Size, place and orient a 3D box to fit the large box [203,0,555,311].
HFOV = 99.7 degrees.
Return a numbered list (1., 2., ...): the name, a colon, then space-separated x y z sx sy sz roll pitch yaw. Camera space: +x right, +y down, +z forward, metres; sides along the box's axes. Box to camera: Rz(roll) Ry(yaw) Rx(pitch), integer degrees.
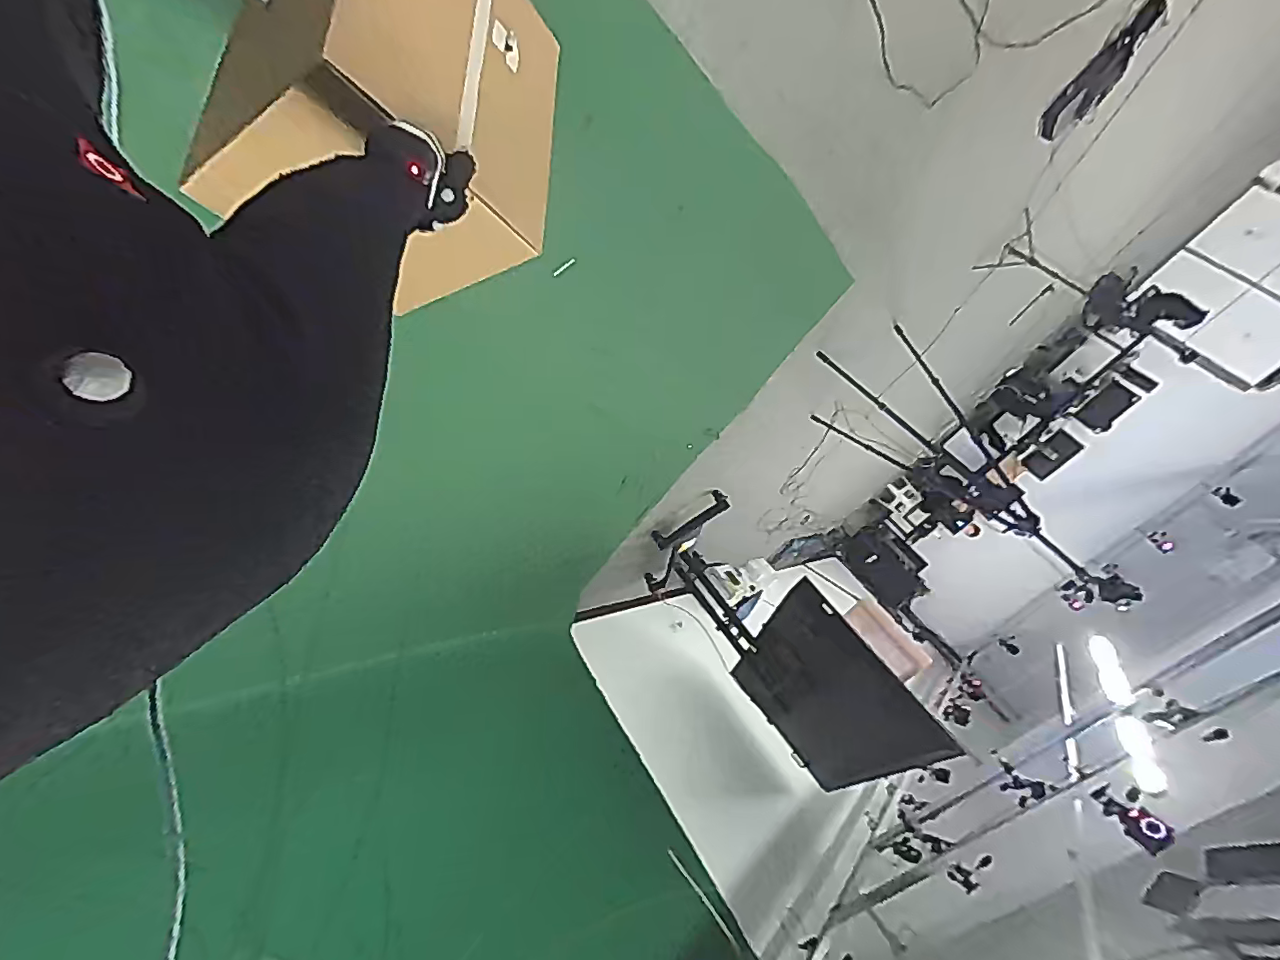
1. large box: -0.344 -0.526 0.771 0.320 0.408 0.320 -9 161 30
